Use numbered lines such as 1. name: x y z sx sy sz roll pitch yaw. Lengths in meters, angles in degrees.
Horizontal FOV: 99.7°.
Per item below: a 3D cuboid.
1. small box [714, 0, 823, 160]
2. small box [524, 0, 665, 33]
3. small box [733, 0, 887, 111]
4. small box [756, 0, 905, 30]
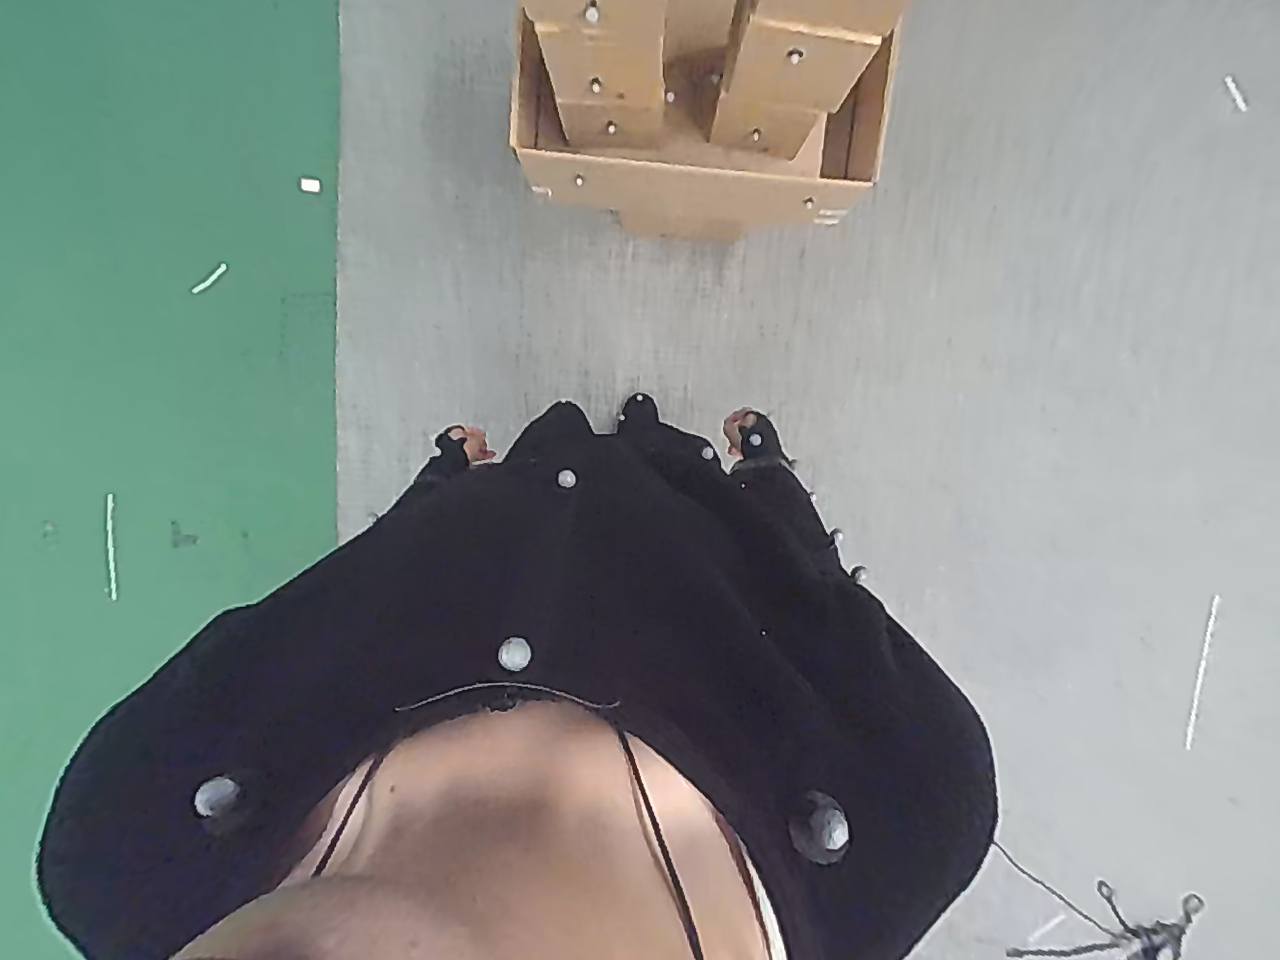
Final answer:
1. small box: 0.225 -0.677 0.914 0.168 0.176 0.179 11 97 0
2. small box: -0.048 -0.641 0.595 0.179 0.176 0.168 7 97 -1
3. small box: 0.236 -0.652 0.752 0.179 0.176 0.168 9 98 -1
4. small box: 0.240 -0.640 0.589 0.179 0.176 0.168 9 97 0
